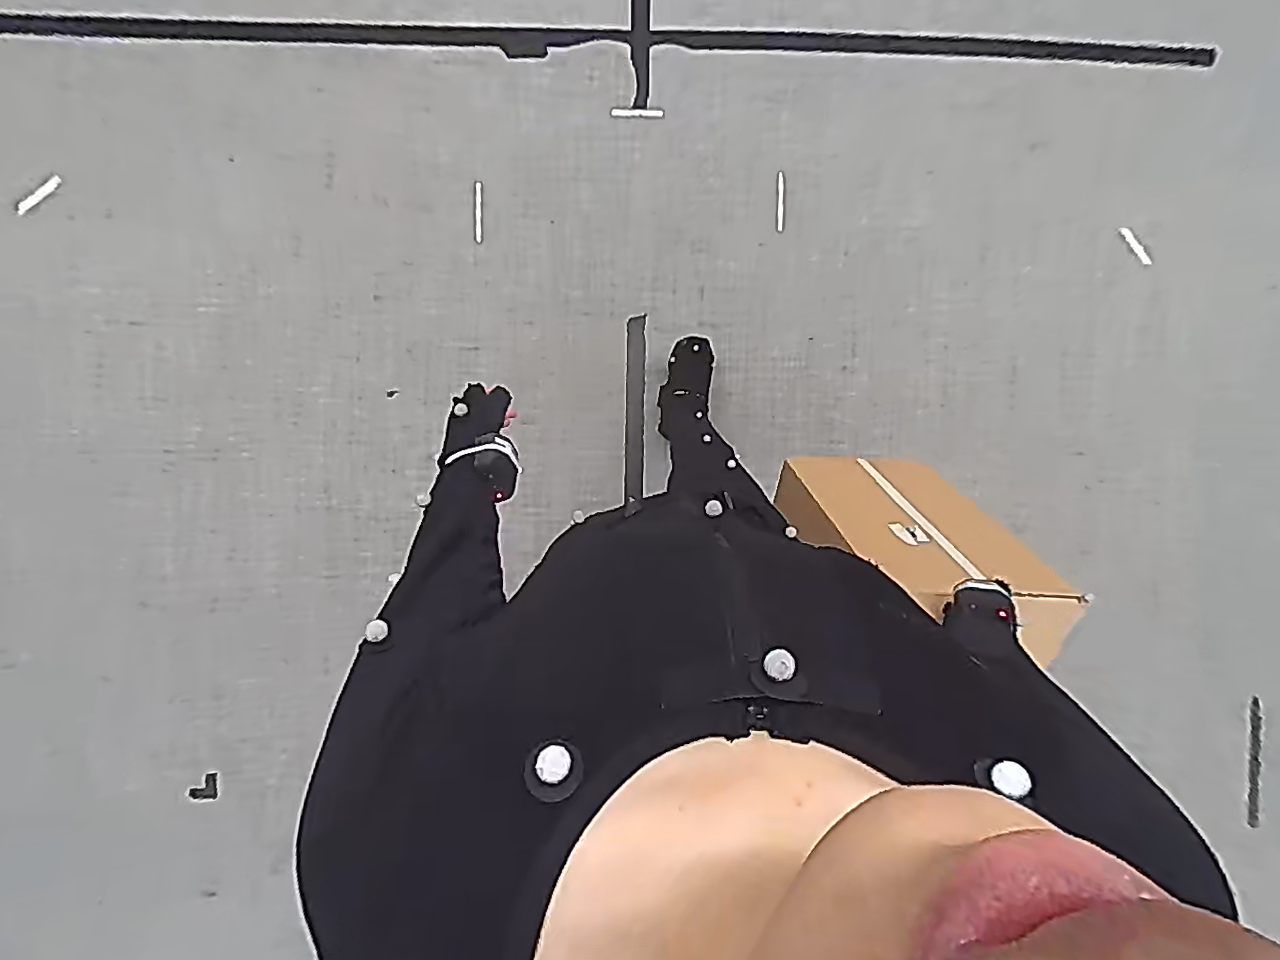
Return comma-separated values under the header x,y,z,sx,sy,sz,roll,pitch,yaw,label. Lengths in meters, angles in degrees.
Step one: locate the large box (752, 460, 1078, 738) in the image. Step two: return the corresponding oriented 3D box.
x,y,z,sx,sy,sz,roll,pitch,yaw,label
0.438,0.197,0.991,0.320,0.408,0.320,3,119,-9,large box
